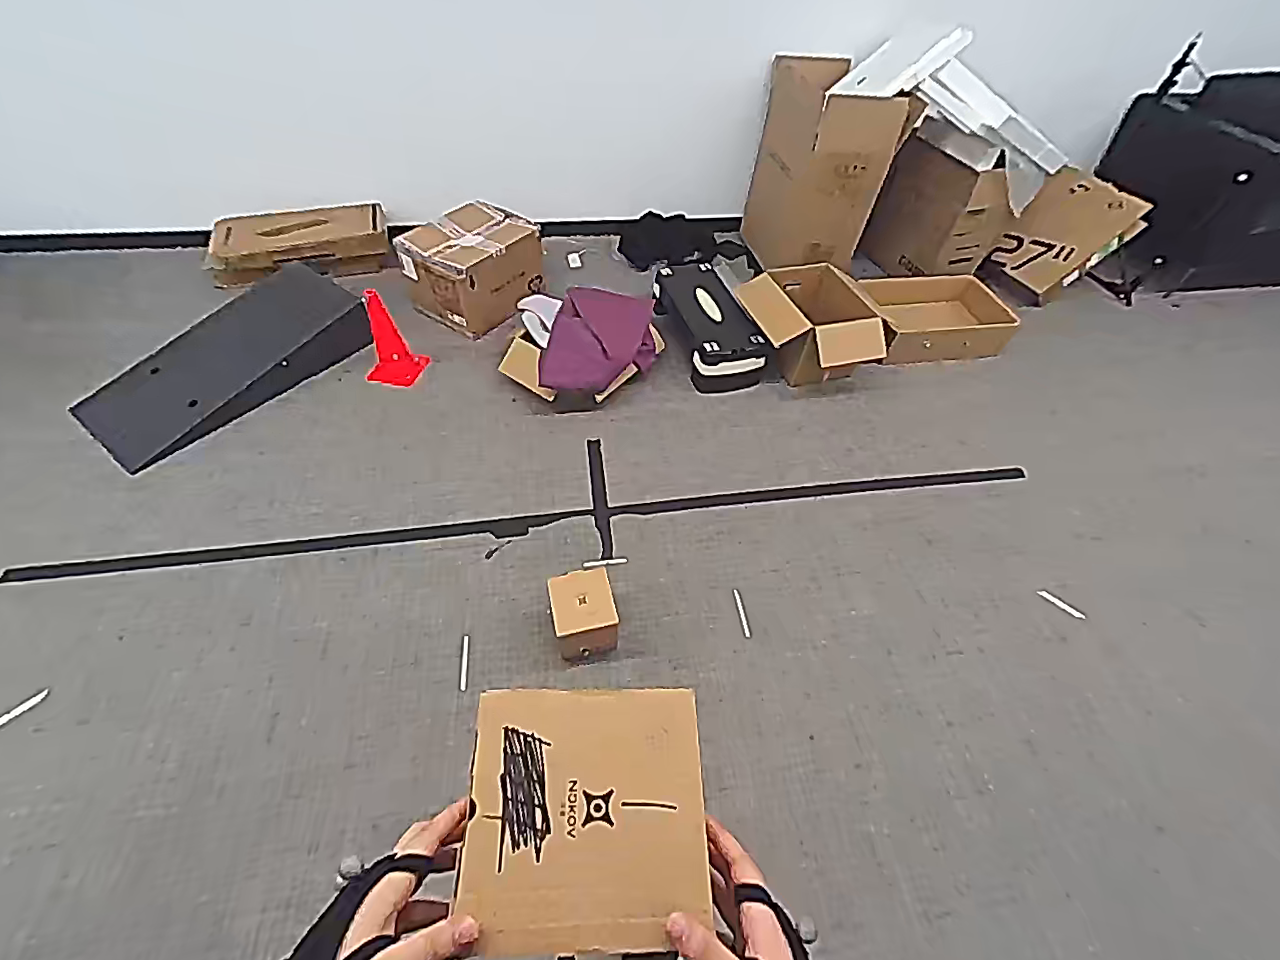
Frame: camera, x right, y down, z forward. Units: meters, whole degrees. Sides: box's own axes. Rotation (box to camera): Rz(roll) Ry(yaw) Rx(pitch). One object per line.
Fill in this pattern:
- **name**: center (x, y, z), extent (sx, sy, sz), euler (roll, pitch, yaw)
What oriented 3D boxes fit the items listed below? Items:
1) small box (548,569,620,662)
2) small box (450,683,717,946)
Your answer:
- **small box**: center (-0.155, 0.375, 1.493), extent (0.168, 0.176, 0.179), euler (-11, 53, -11)
- **small box**: center (-0.040, 0.279, 0.457), extent (0.179, 0.176, 0.168), euler (1, 55, -4)
